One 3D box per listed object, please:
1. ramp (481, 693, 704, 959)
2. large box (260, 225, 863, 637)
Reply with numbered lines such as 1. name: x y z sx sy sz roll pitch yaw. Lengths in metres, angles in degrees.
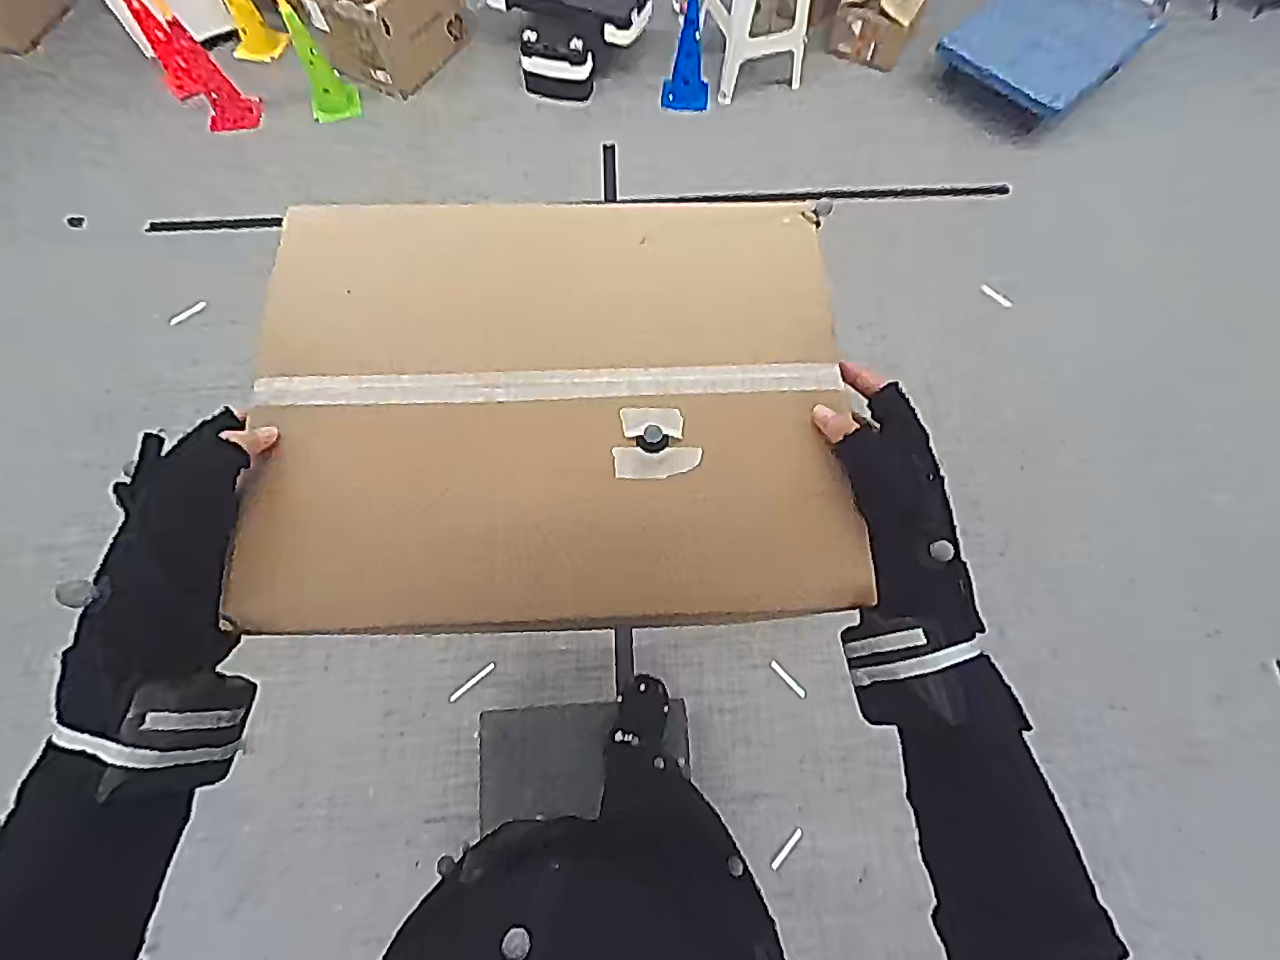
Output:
1. ramp: -0.104 1.012 1.203 0.509 0.206 0.991 -4 69 -3
2. large box: -0.061 -0.017 0.539 0.408 0.320 0.320 -2 74 -3
